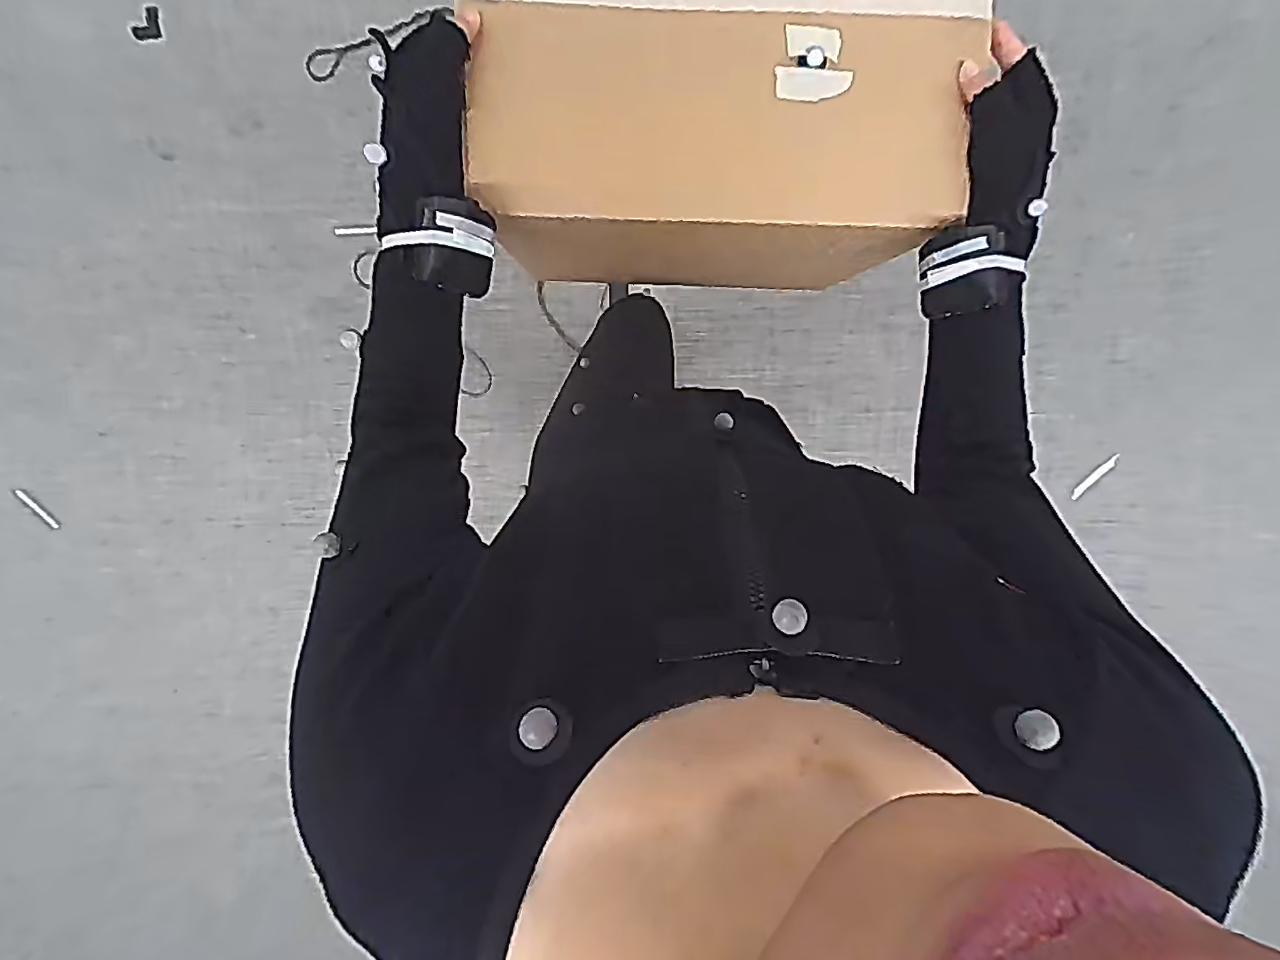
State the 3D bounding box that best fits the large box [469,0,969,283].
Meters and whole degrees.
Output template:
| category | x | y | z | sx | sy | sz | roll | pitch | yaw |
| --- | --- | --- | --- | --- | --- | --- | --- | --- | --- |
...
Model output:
| category | x | y | z | sx | sy | sz | roll | pitch | yaw |
| --- | --- | --- | --- | --- | --- | --- | --- | --- | --- |
| large box | 0.056 | -0.395 | 0.572 | 0.408 | 0.320 | 0.320 | 1 | 101 | -3 |
